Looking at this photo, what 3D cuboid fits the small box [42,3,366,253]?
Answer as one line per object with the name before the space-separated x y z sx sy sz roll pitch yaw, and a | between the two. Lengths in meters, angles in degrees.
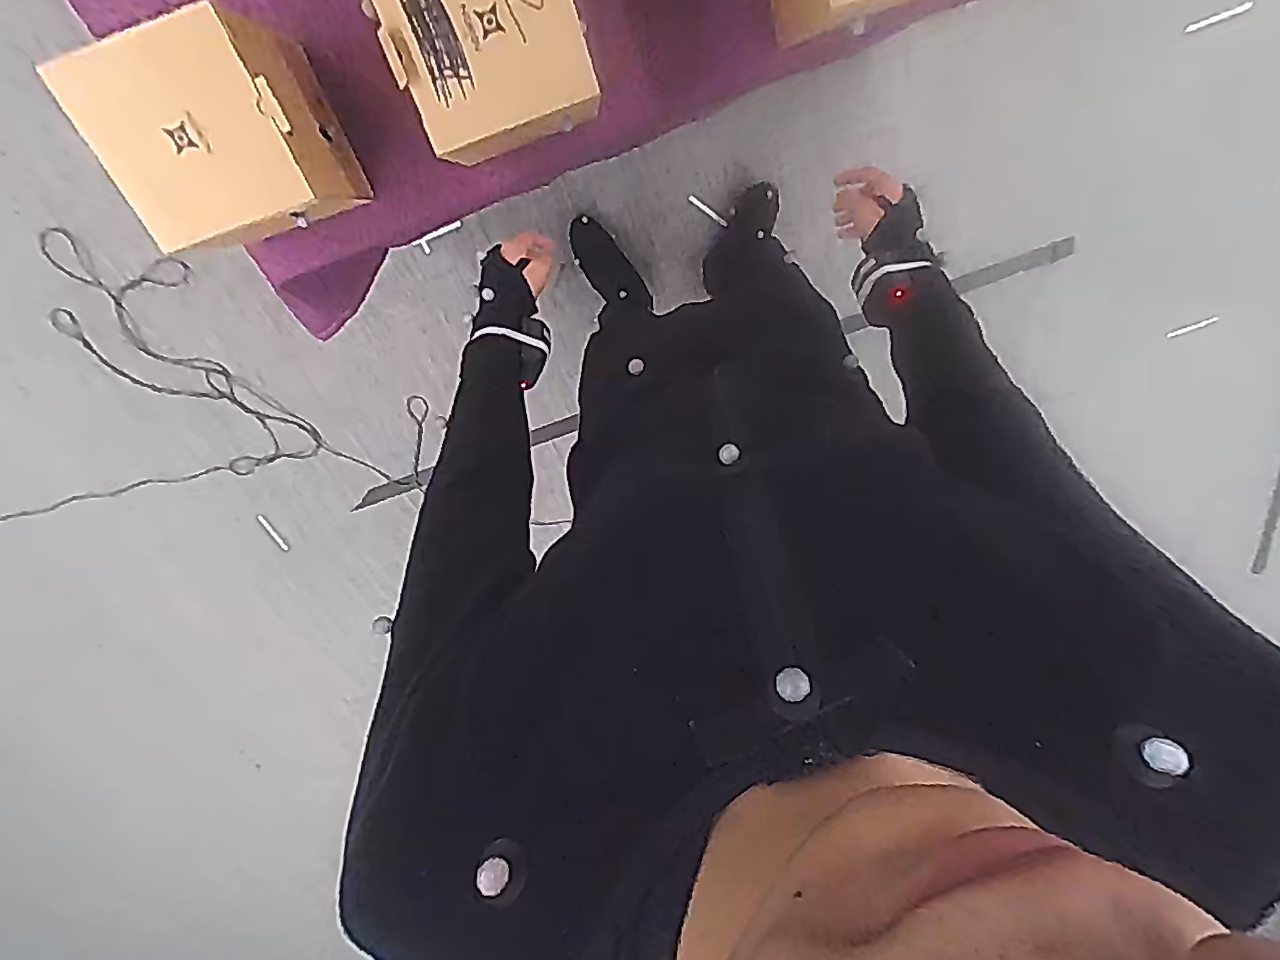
small box | -0.439 -0.360 0.585 0.179 0.176 0.168 -18 118 3
